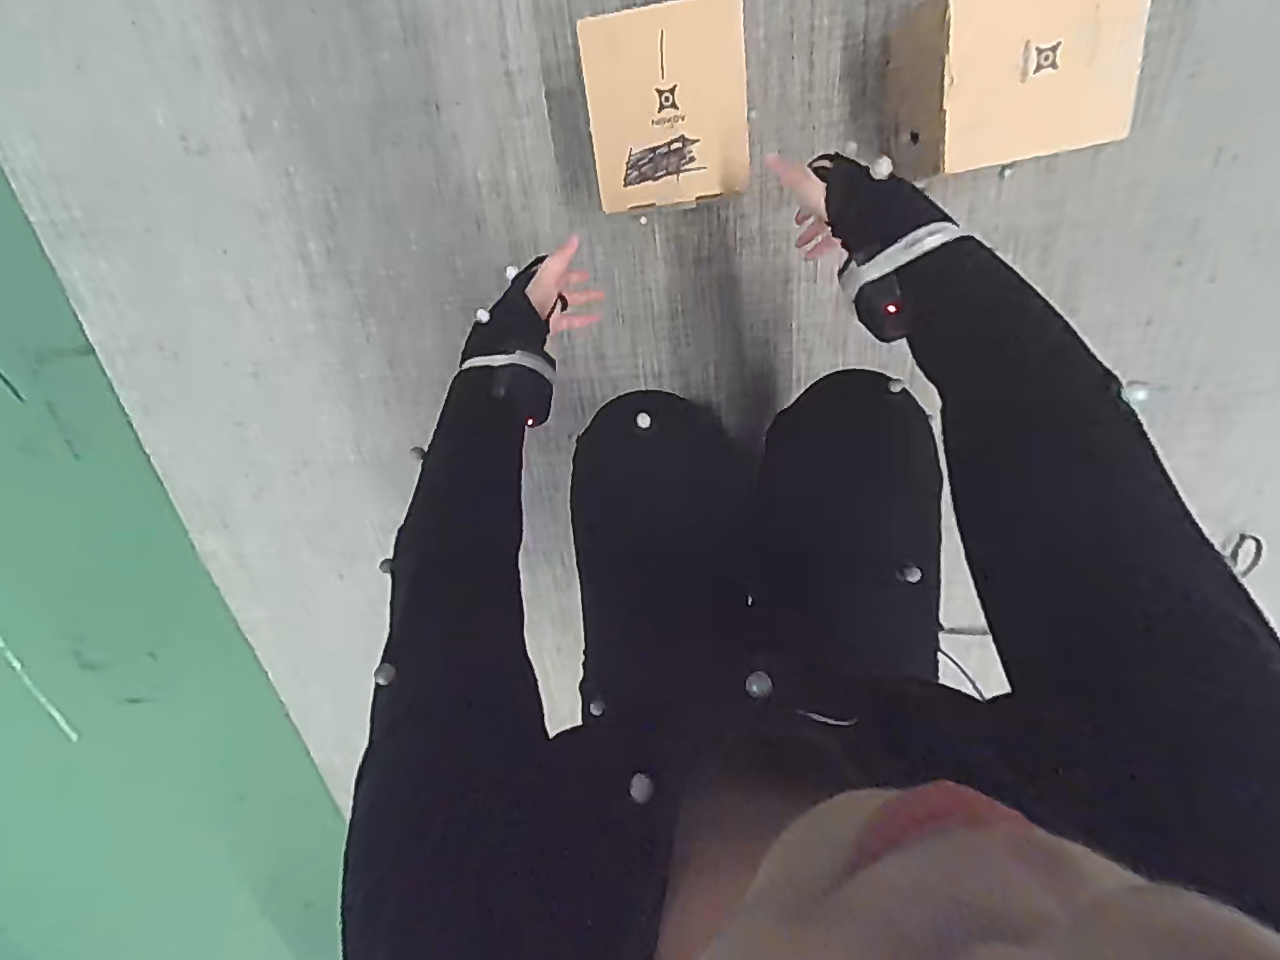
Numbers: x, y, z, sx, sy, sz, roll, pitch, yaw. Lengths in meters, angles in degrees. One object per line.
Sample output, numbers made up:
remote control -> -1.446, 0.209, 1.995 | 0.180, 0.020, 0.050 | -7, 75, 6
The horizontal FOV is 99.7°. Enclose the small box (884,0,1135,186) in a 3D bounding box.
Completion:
small box -> 0.379, -0.431, 0.591 | 0.179, 0.176, 0.168 | -7, 115, 9

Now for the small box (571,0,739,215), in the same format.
small box -> 0.029, -0.419, 0.637 | 0.168, 0.176, 0.179 | -4, 114, 8
